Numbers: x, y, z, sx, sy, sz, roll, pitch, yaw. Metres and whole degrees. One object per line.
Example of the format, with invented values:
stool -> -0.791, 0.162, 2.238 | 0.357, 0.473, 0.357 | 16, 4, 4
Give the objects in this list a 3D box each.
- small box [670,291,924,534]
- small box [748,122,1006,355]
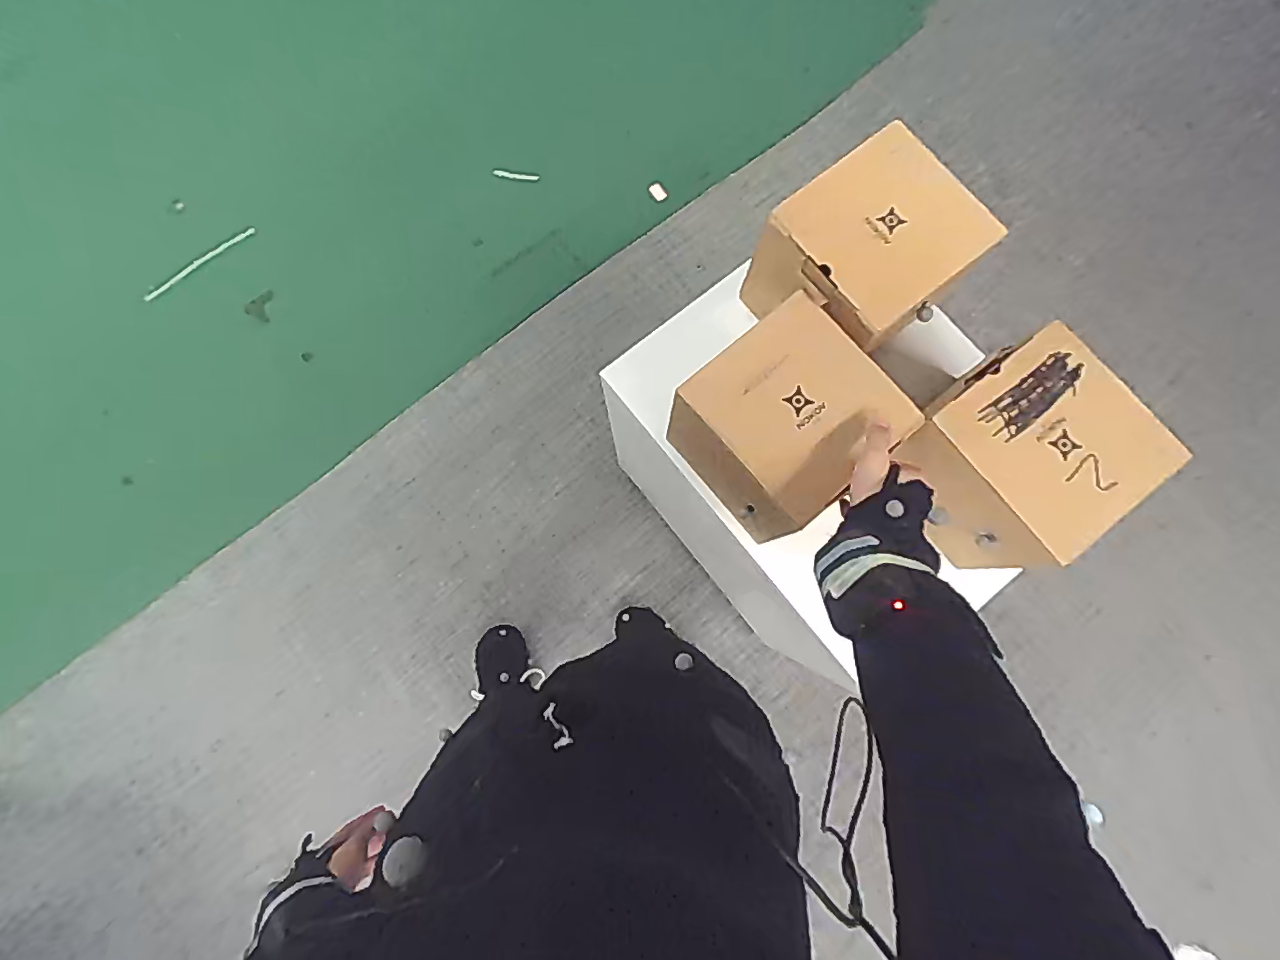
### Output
small box -> 0.150, -0.056, 0.582 | 0.168, 0.176, 0.179 | -40, 81, -8
small box -> 0.248, -0.242, 0.615 | 0.179, 0.176, 0.168 | -38, 82, -5
